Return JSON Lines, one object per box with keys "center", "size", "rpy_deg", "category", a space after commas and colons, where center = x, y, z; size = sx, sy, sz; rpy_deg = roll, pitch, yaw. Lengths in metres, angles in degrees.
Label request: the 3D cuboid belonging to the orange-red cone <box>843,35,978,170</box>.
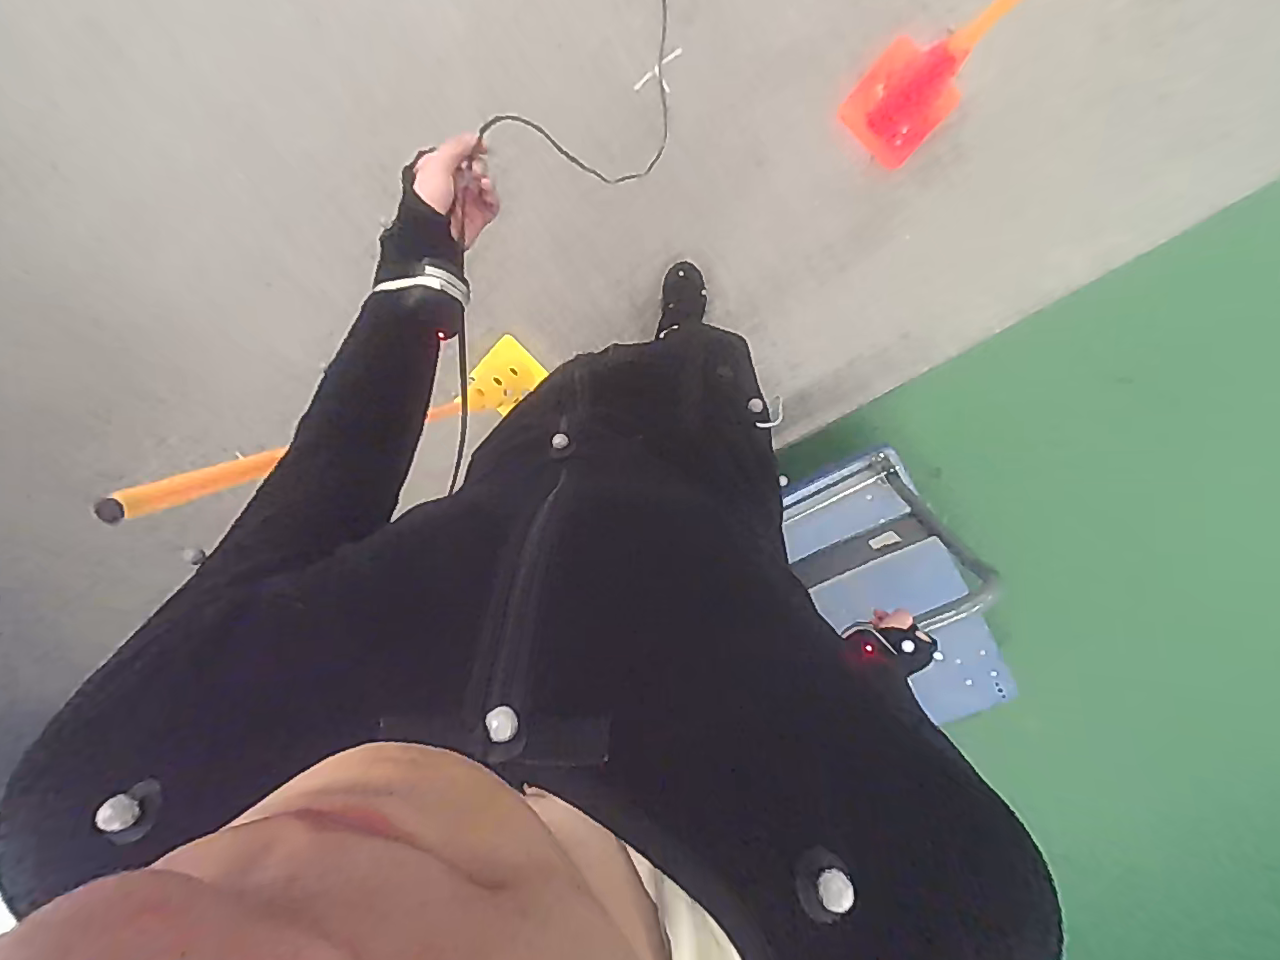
{"center": [0.578, -0.799, 1.084], "size": [0.198, 0.360, 0.199], "rpy_deg": [42, 109, -9], "category": "orange-red cone"}
